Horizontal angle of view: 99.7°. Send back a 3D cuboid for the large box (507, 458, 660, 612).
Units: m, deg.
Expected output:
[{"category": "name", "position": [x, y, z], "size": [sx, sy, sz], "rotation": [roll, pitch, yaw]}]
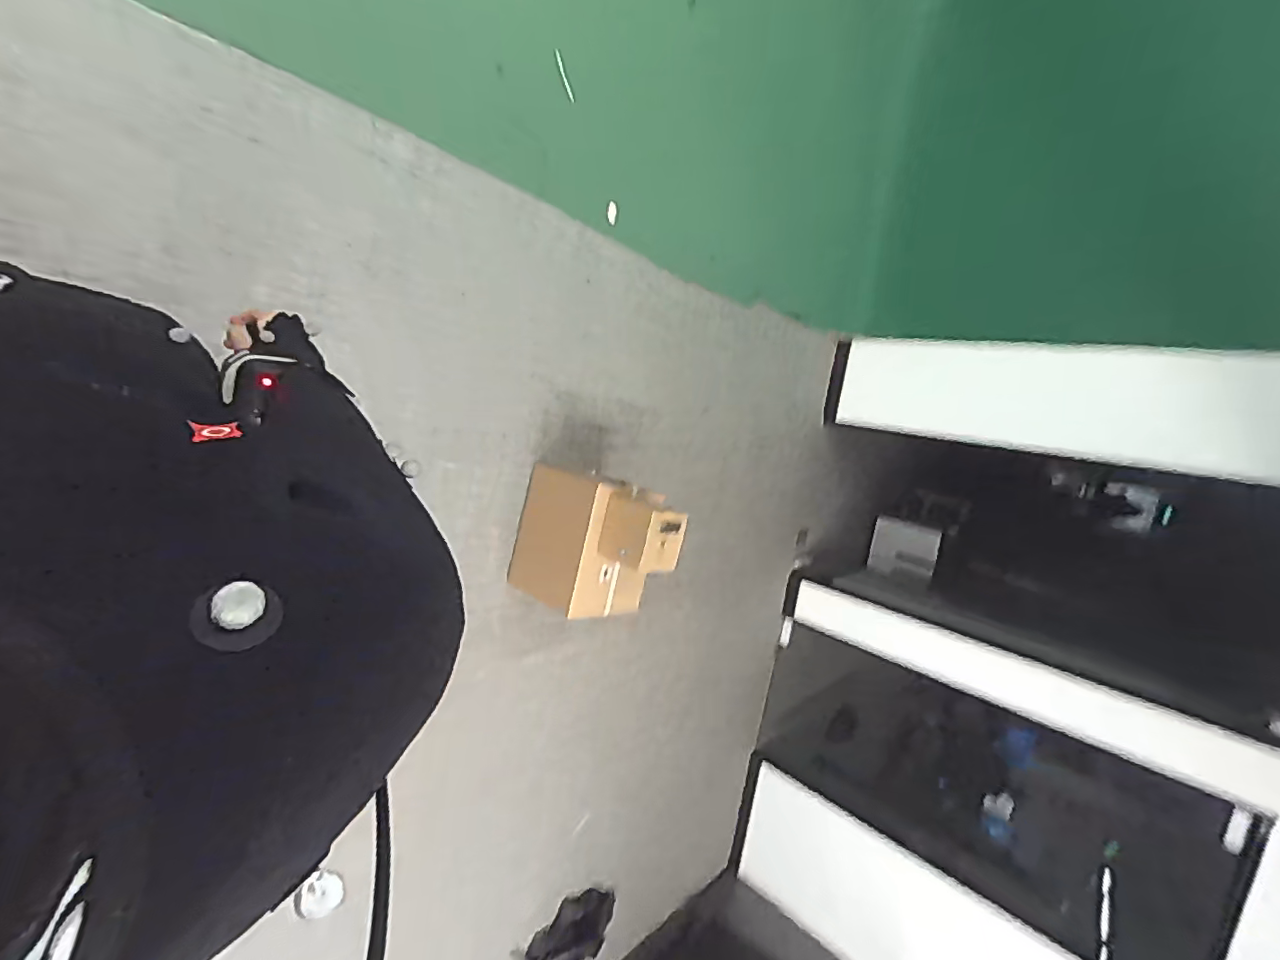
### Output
[{"category": "large box", "position": [-0.184, 0.165, 1.747], "size": [0.320, 0.320, 0.408], "rotation": [8, 98, -48]}]
